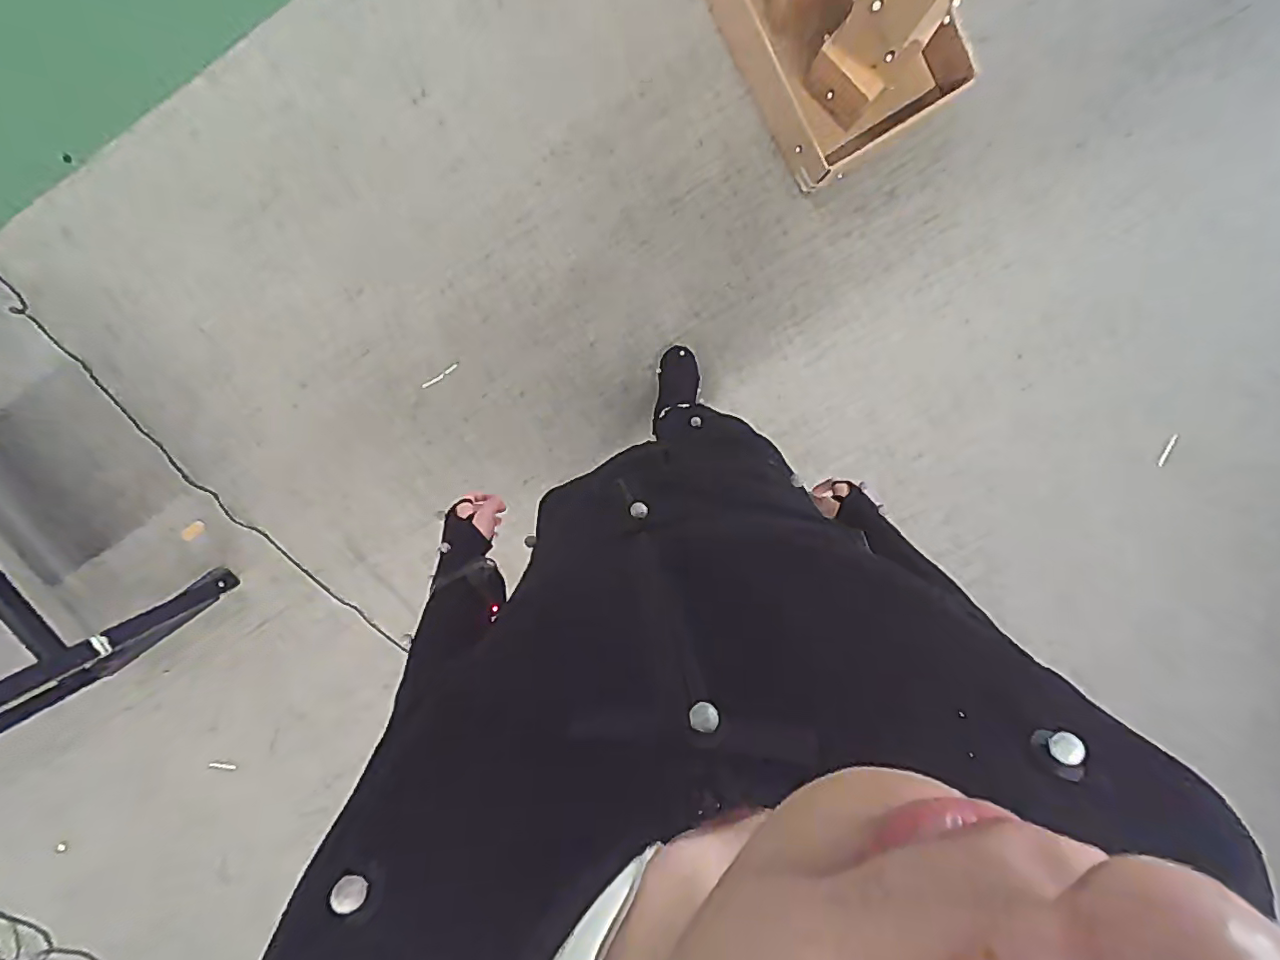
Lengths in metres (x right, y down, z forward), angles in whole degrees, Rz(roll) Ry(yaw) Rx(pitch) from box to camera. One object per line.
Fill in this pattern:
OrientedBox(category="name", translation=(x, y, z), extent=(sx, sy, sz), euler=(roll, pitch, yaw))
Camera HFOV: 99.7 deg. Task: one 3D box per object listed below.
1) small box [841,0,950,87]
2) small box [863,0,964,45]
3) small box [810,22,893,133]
OrientedBox(category="small box", translation=(0.546, -0.978, 1.126), extent=(0.168, 0.176, 0.179), euler=(33, 99, -4))
OrientedBox(category="small box", translation=(0.518, -0.936, 0.968), extent=(0.168, 0.176, 0.179), euler=(-37, 98, 8))
OrientedBox(category="small box", translation=(0.529, -0.984, 1.291), extent=(0.168, 0.176, 0.179), euler=(44, 98, -6))
